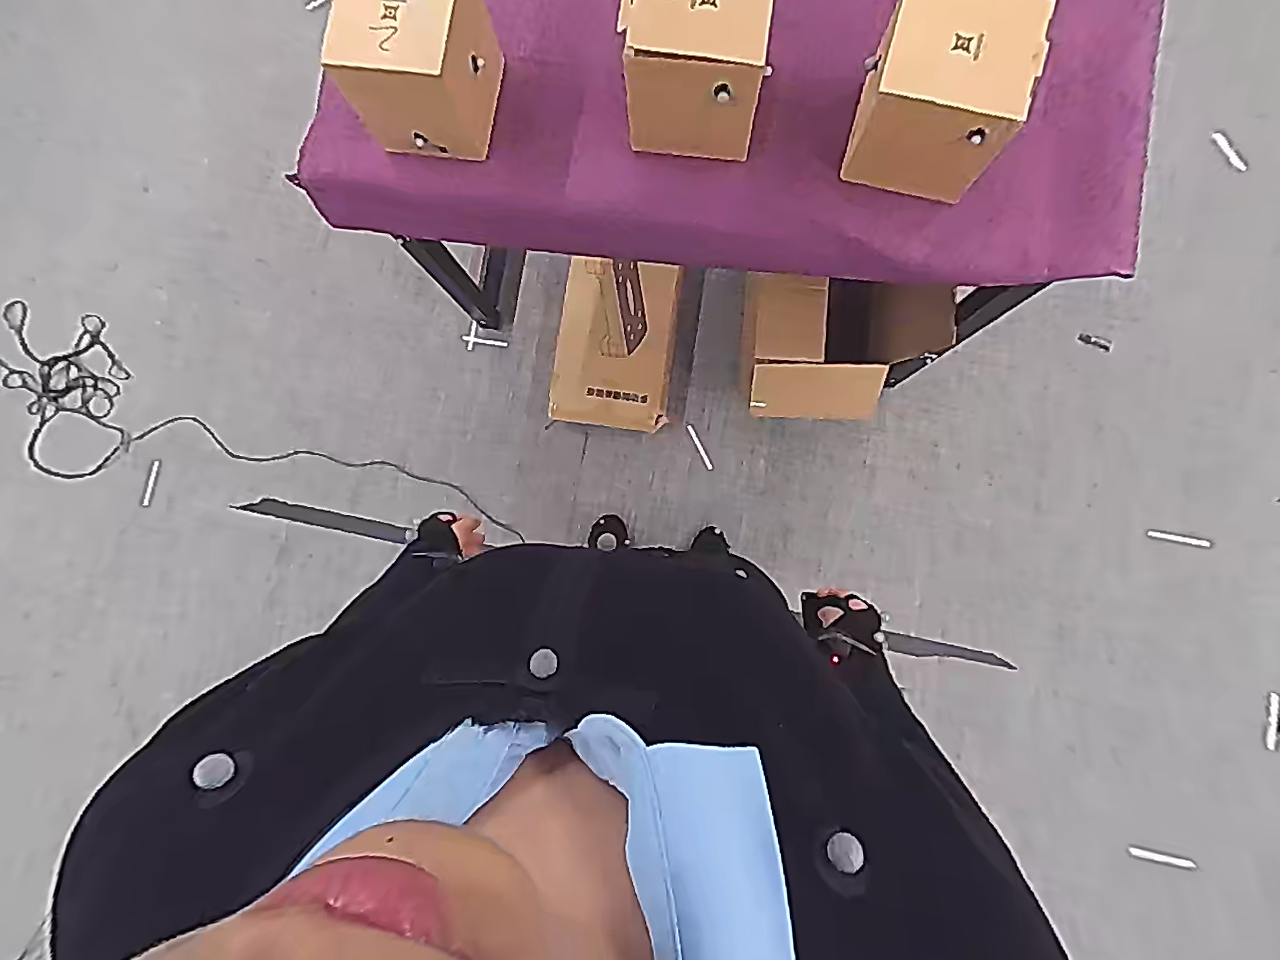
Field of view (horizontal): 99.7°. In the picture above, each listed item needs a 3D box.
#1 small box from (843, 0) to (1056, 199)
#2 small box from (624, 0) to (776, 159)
[{"bbox_3d":[0.392,-0.507,0.718,0.179,0.176,0.168,15,86,5],"label":"small box"},{"bbox_3d":[0.082,-0.576,0.743,0.179,0.176,0.168,8,83,4],"label":"small box"}]
